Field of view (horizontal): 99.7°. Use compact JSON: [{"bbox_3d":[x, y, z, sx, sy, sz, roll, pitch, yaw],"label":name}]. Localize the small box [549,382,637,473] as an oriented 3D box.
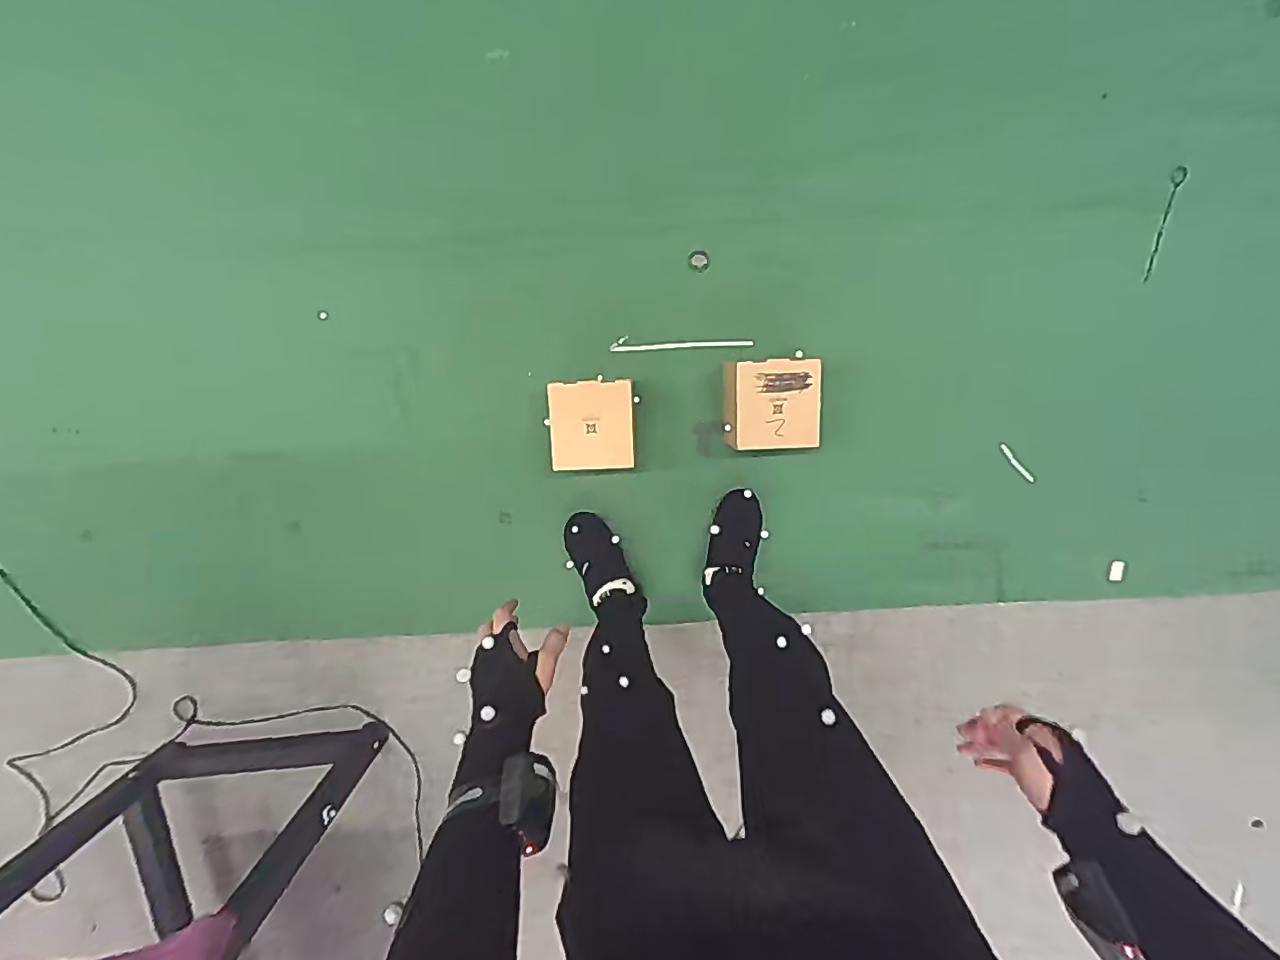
[{"bbox_3d":[-0.092,-0.116,1.145,0.168,0.176,0.179,-2,99,1],"label":"small box"}]
